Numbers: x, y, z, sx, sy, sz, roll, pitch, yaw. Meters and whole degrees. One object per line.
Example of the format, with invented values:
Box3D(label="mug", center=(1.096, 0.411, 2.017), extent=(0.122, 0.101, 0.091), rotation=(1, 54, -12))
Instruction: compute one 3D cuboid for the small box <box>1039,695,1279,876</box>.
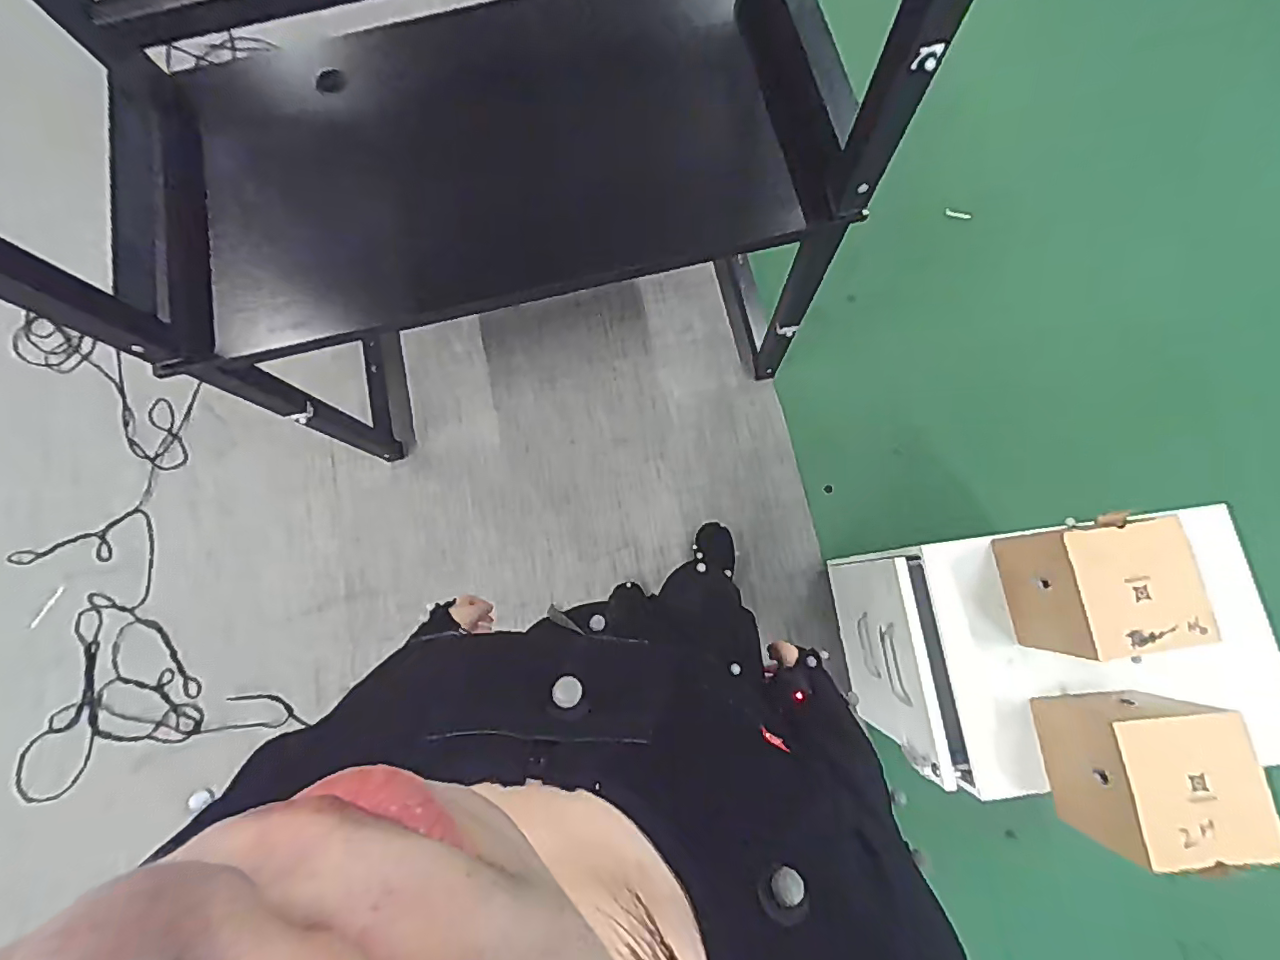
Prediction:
Box3D(label="small box", center=(0.695, 0.401, 0.743), extent=(0.168, 0.176, 0.179), rotation=(-6, 79, 2))

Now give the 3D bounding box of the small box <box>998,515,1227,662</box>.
Box3D(label="small box", center=(0.670, 0.158, 0.794), extent=(0.168, 0.176, 0.179), rotation=(-9, 79, 1))
